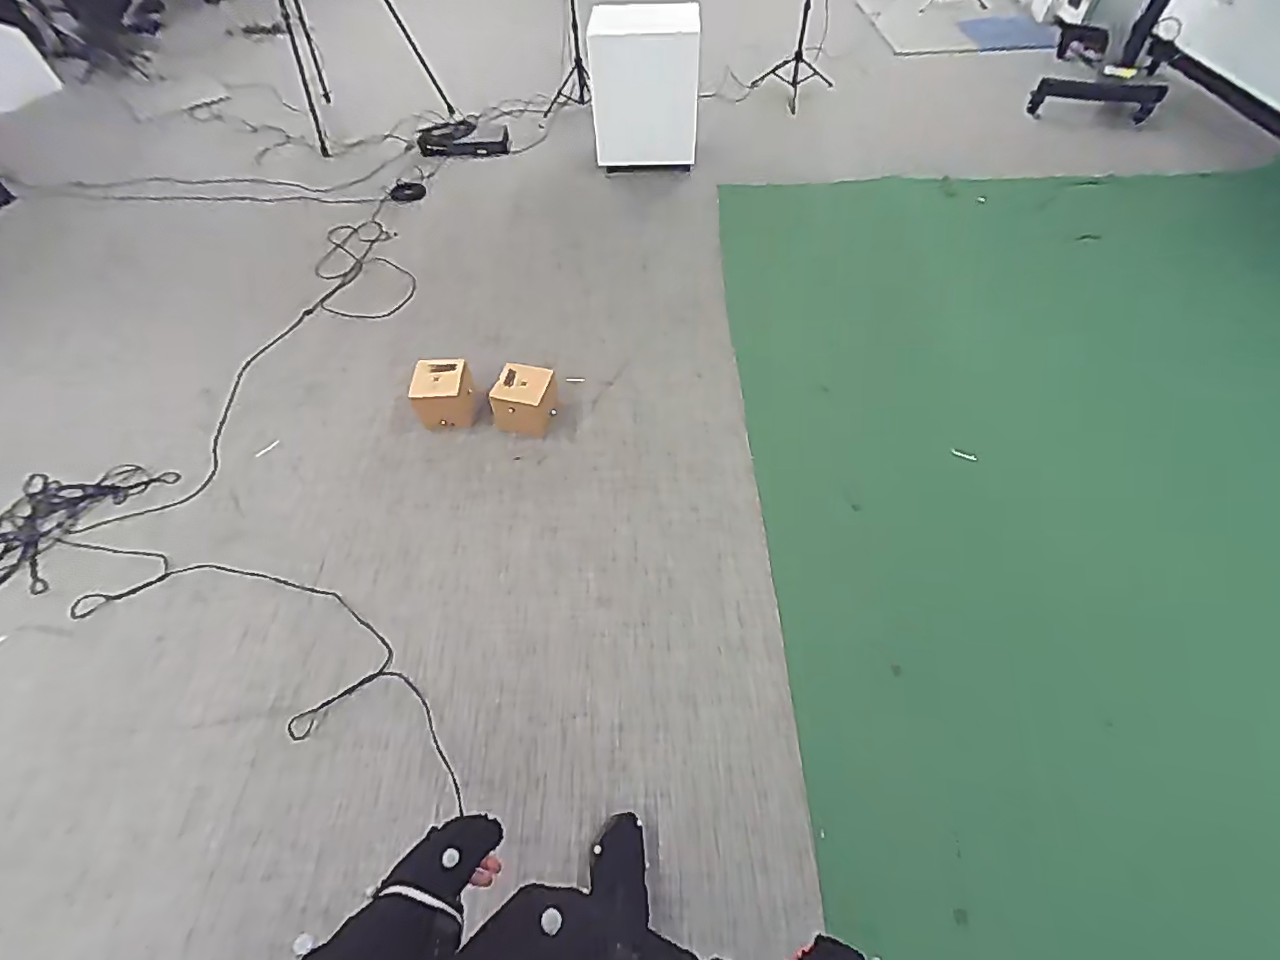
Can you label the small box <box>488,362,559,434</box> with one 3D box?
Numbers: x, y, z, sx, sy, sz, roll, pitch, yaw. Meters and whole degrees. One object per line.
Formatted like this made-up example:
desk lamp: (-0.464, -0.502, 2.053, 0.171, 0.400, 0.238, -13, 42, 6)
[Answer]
small box: (-0.394, -0.277, 1.862, 0.179, 0.176, 0.168, 11, 57, 8)
